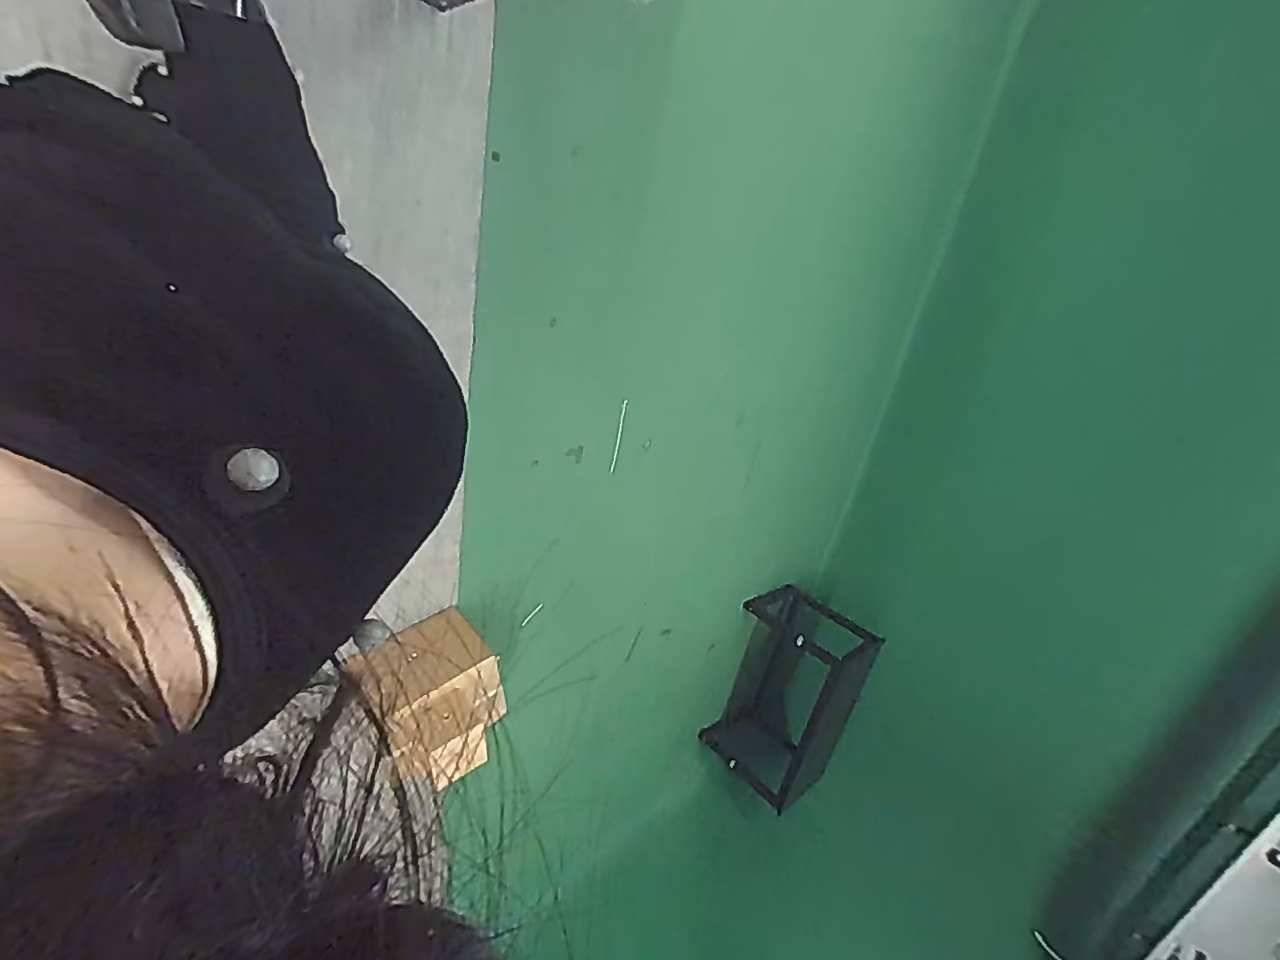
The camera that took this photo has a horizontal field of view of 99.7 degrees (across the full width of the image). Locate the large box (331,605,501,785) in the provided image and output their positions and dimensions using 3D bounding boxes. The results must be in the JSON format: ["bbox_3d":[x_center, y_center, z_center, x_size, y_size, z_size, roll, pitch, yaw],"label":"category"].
[{"bbox_3d":[-0.741,0.700,1.817,0.408,0.320,0.320,-26,131,-36],"label":"large box"}]

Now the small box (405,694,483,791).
[{"bbox_3d":[-0.593,0.777,1.630,0.168,0.176,0.179,-19,125,-38],"label":"small box"}]
